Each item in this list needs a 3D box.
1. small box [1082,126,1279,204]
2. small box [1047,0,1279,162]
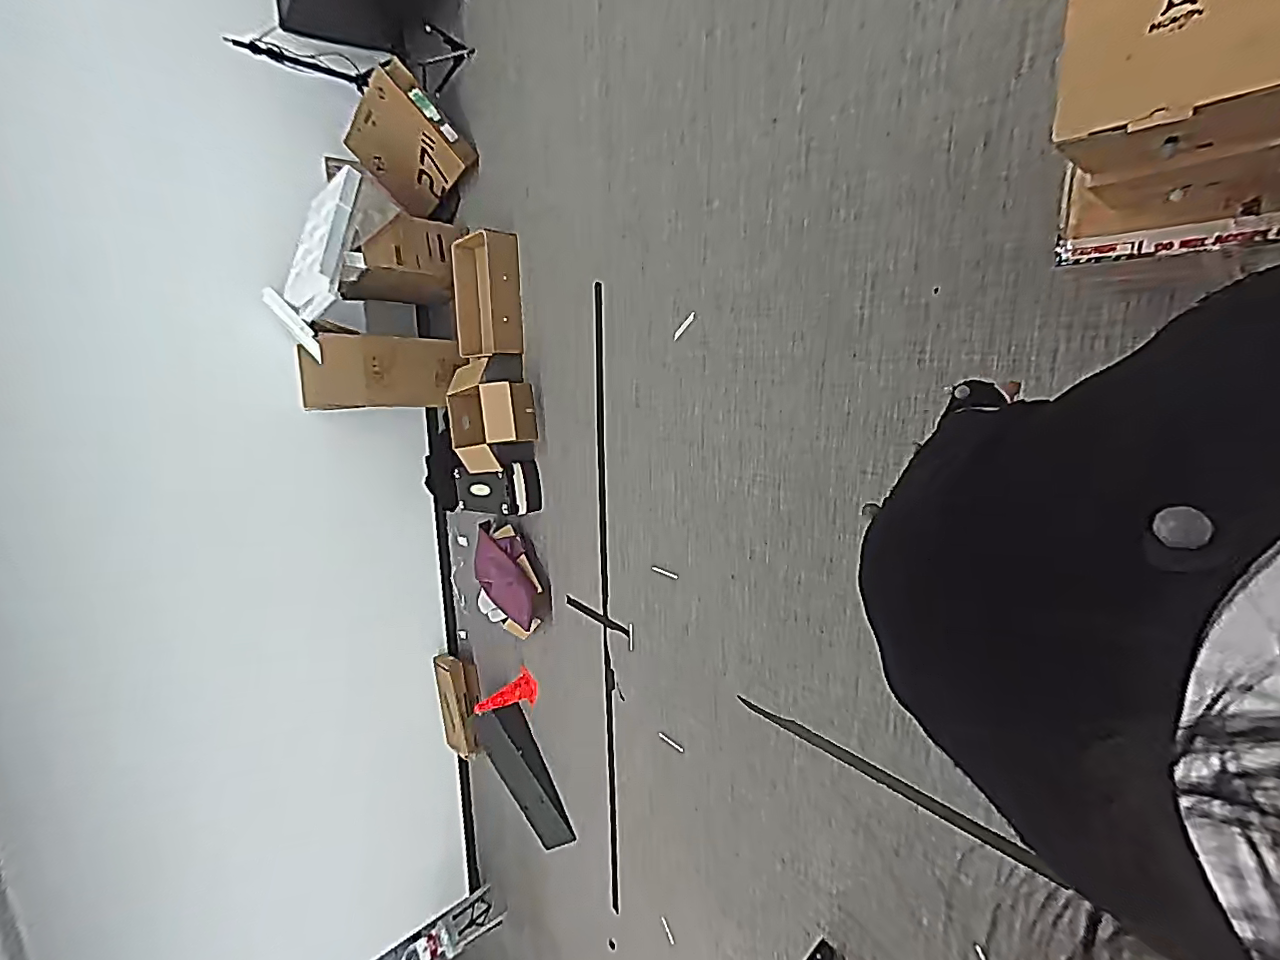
[{"bbox_3d":[0.647,-0.444,0.631,0.168,0.176,0.179,11,110,48],"label":"small box"},{"bbox_3d":[0.526,-0.426,0.521,0.168,0.176,0.179,13,112,48],"label":"small box"}]
